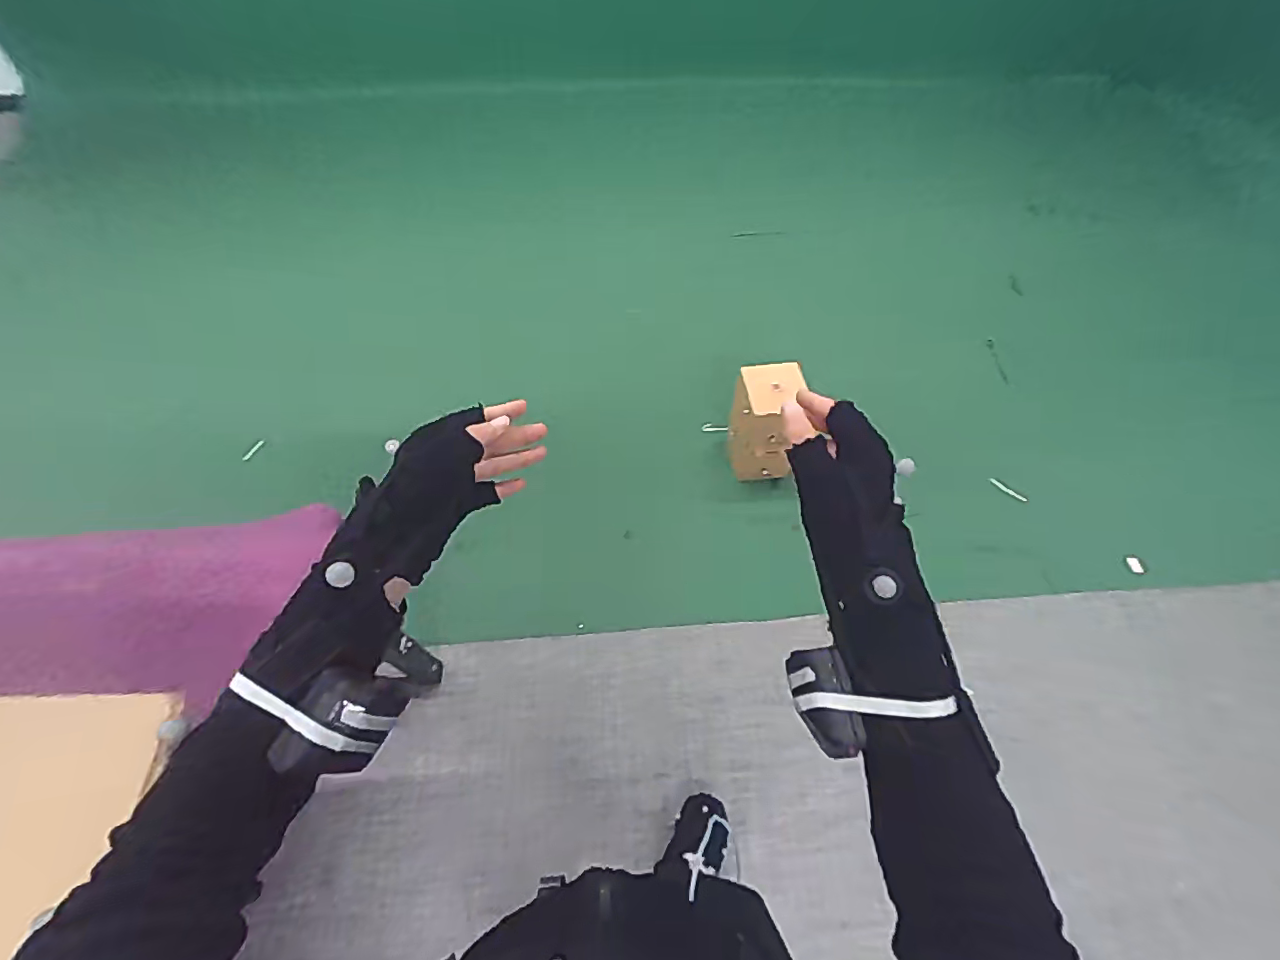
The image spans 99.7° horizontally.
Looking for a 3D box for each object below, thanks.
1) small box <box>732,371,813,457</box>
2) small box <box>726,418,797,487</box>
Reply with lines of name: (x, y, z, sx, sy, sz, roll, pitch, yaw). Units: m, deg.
small box: (0.368, -0.187, 1.546, 0.168, 0.176, 0.179, -6, 58, -5)
small box: (0.370, -0.098, 1.683, 0.168, 0.176, 0.179, -5, 57, -3)
